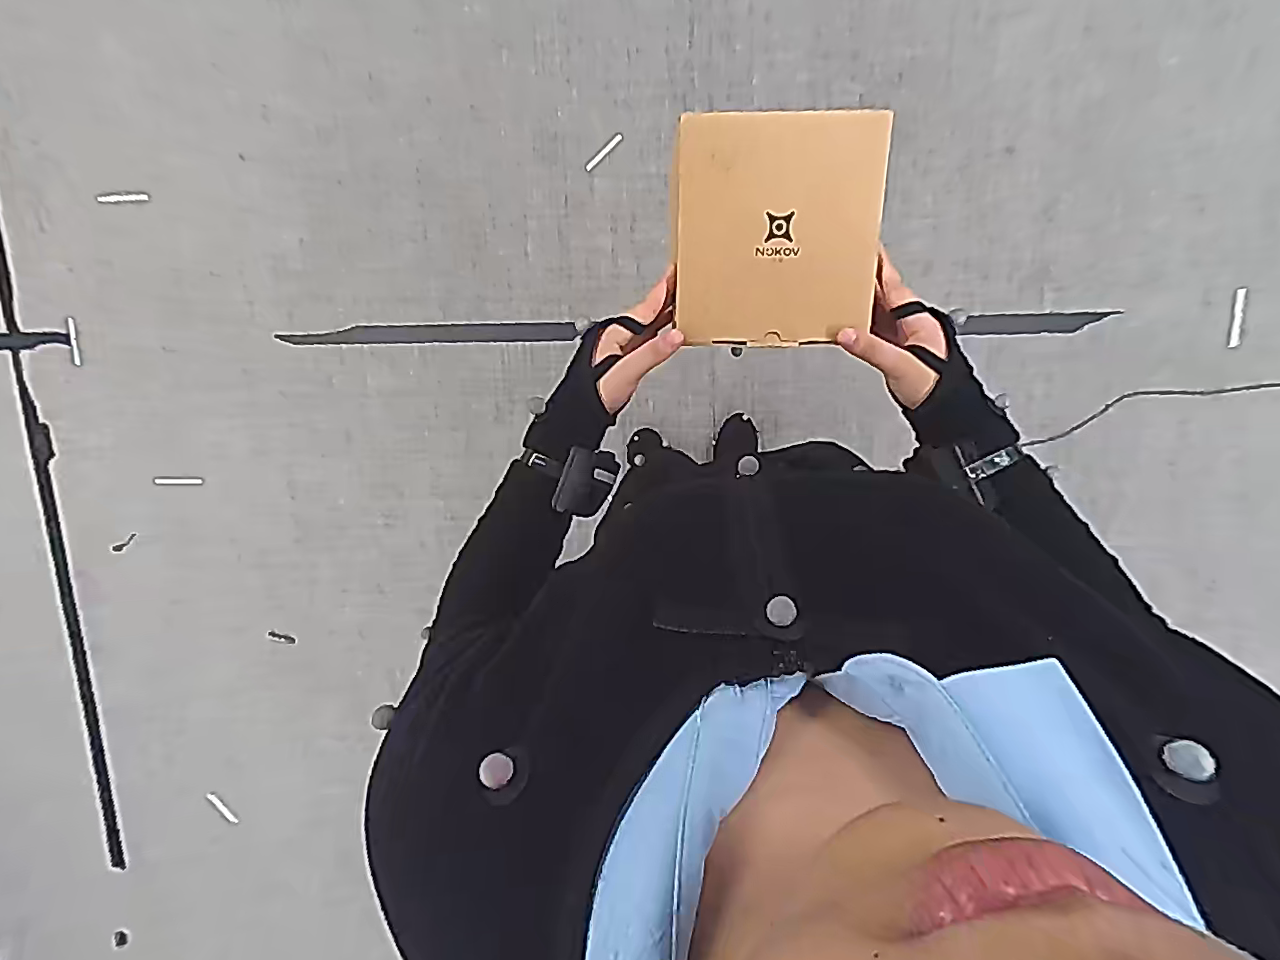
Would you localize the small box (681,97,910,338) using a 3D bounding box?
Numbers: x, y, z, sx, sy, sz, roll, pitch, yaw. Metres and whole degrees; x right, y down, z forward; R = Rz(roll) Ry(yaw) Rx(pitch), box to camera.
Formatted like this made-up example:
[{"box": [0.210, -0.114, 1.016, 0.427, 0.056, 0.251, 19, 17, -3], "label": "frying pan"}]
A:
[{"box": [0.125, -0.226, 0.509, 0.168, 0.176, 0.179, 0, 105, 1], "label": "small box"}]
